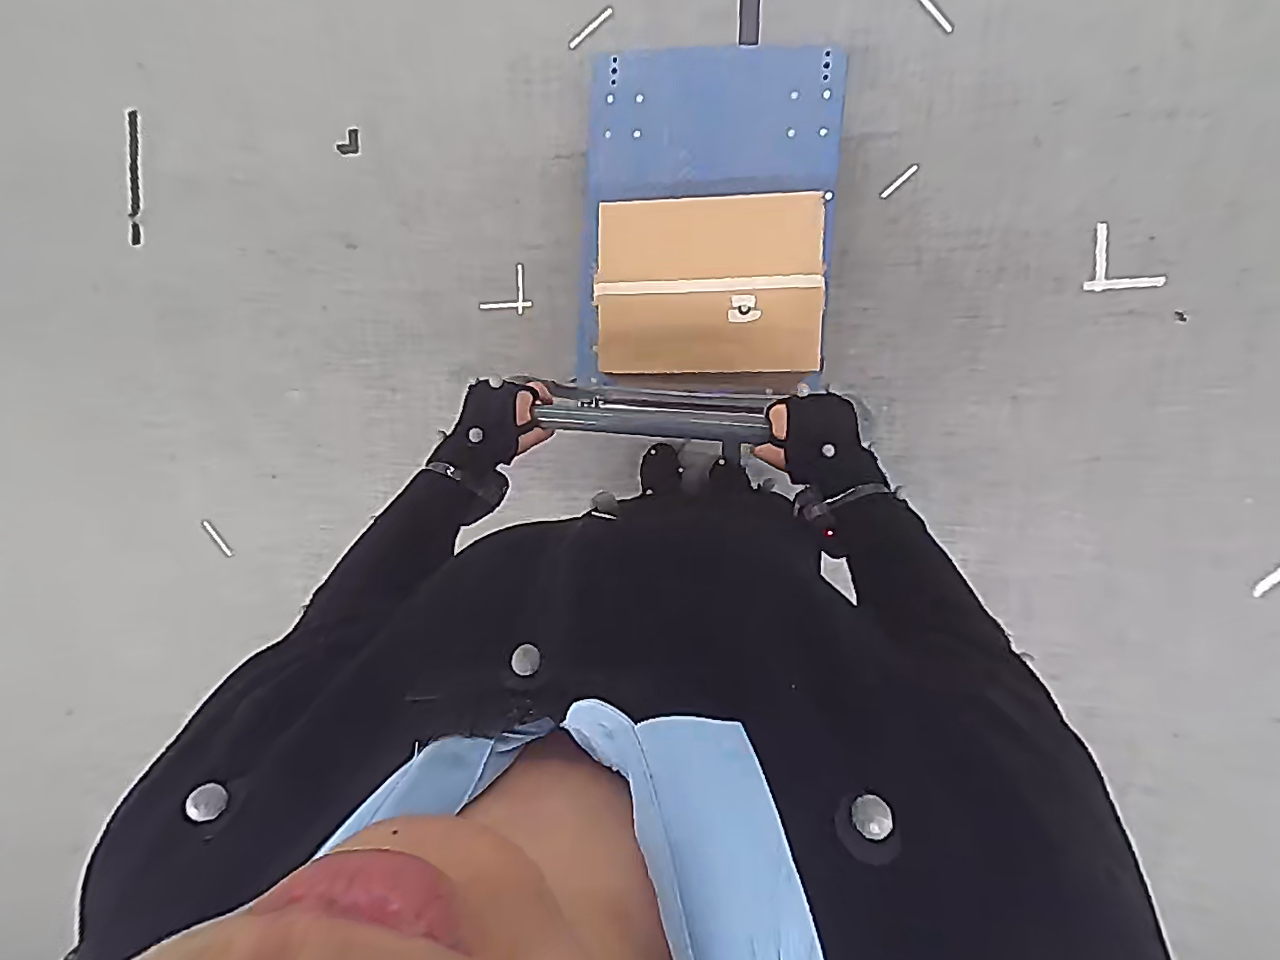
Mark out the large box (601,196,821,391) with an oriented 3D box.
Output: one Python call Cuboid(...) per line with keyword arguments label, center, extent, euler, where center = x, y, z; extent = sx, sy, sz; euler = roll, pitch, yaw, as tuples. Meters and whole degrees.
Cuboid(label="large box", center=(0.143, -0.362, 1.142), extent=(0.408, 0.320, 0.320), euler=(1, 95, 7))
